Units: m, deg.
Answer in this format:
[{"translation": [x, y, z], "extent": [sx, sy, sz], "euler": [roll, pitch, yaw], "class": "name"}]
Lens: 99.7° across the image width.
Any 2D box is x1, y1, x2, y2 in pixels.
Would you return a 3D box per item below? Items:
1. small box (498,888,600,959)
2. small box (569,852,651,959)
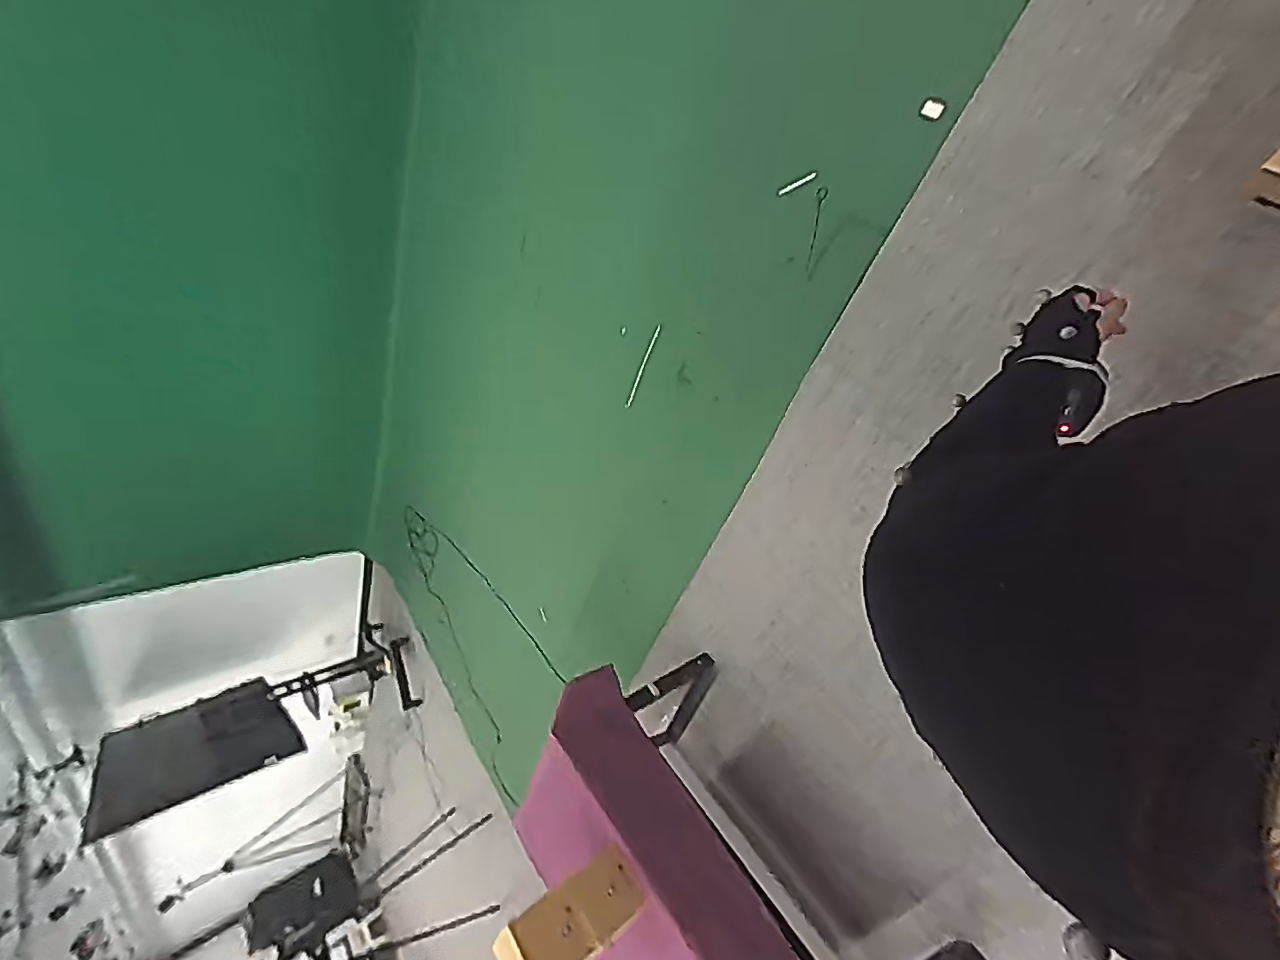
[{"translation": [-0.220, 1.155, 1.318], "extent": [0.168, 0.176, 0.179], "euler": [44, 126, 32], "class": "small box"}, {"translation": [-0.096, 1.130, 1.421], "extent": [0.168, 0.176, 0.179], "euler": [44, 128, 32], "class": "small box"}]
